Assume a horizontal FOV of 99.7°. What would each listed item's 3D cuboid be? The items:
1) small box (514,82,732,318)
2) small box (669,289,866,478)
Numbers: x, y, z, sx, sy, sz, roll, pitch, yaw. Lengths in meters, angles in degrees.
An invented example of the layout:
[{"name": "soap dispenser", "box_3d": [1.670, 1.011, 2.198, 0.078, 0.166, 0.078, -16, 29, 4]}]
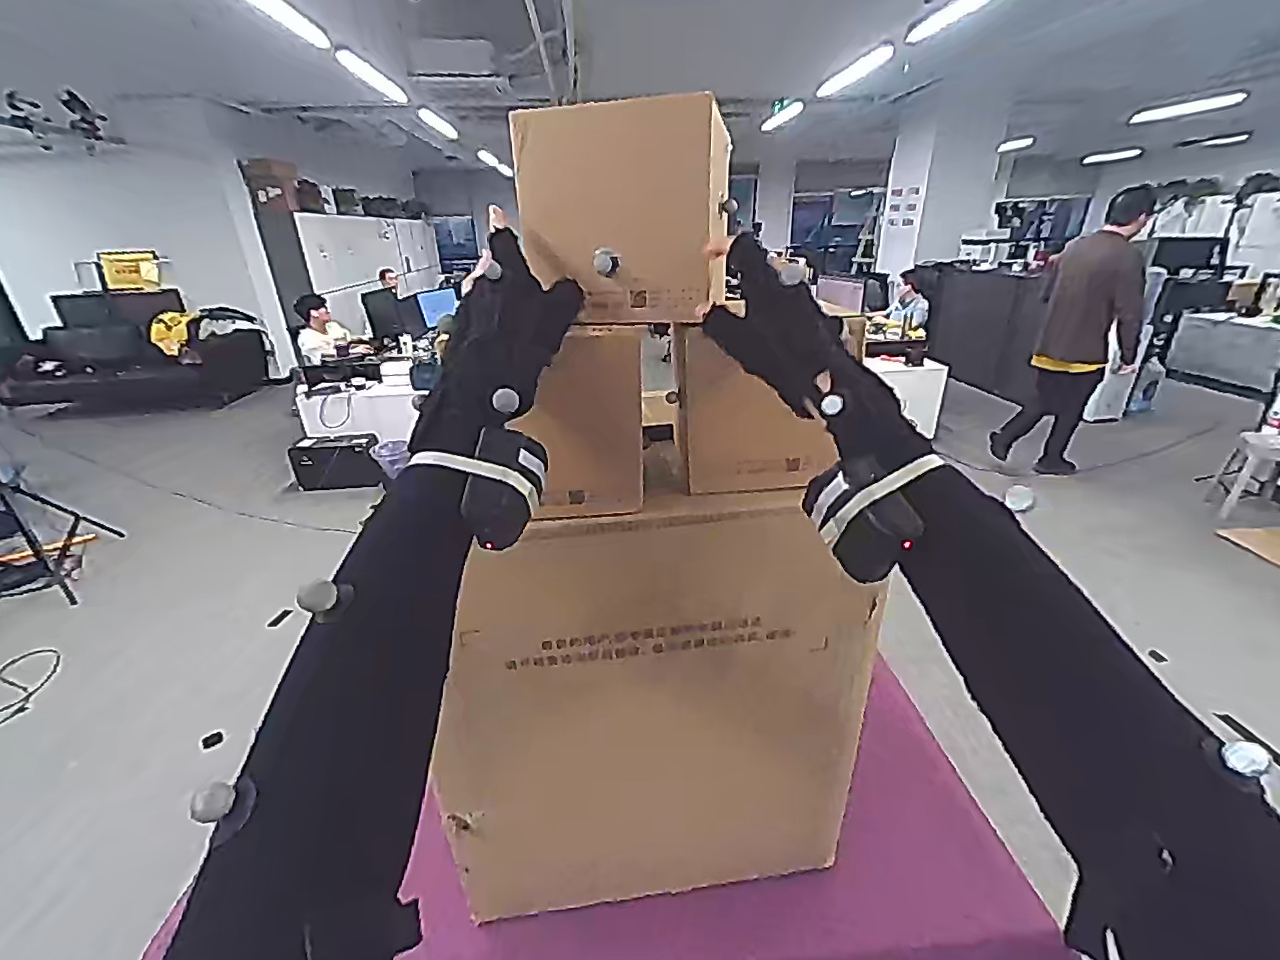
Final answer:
[{"name": "small box", "box_3d": [-0.003, -0.254, 0.520, 0.168, 0.176, 0.179, 3, 24, 13]}, {"name": "small box", "box_3d": [0.121, -0.106, 0.581, 0.168, 0.176, 0.179, -3, 23, -1]}]
